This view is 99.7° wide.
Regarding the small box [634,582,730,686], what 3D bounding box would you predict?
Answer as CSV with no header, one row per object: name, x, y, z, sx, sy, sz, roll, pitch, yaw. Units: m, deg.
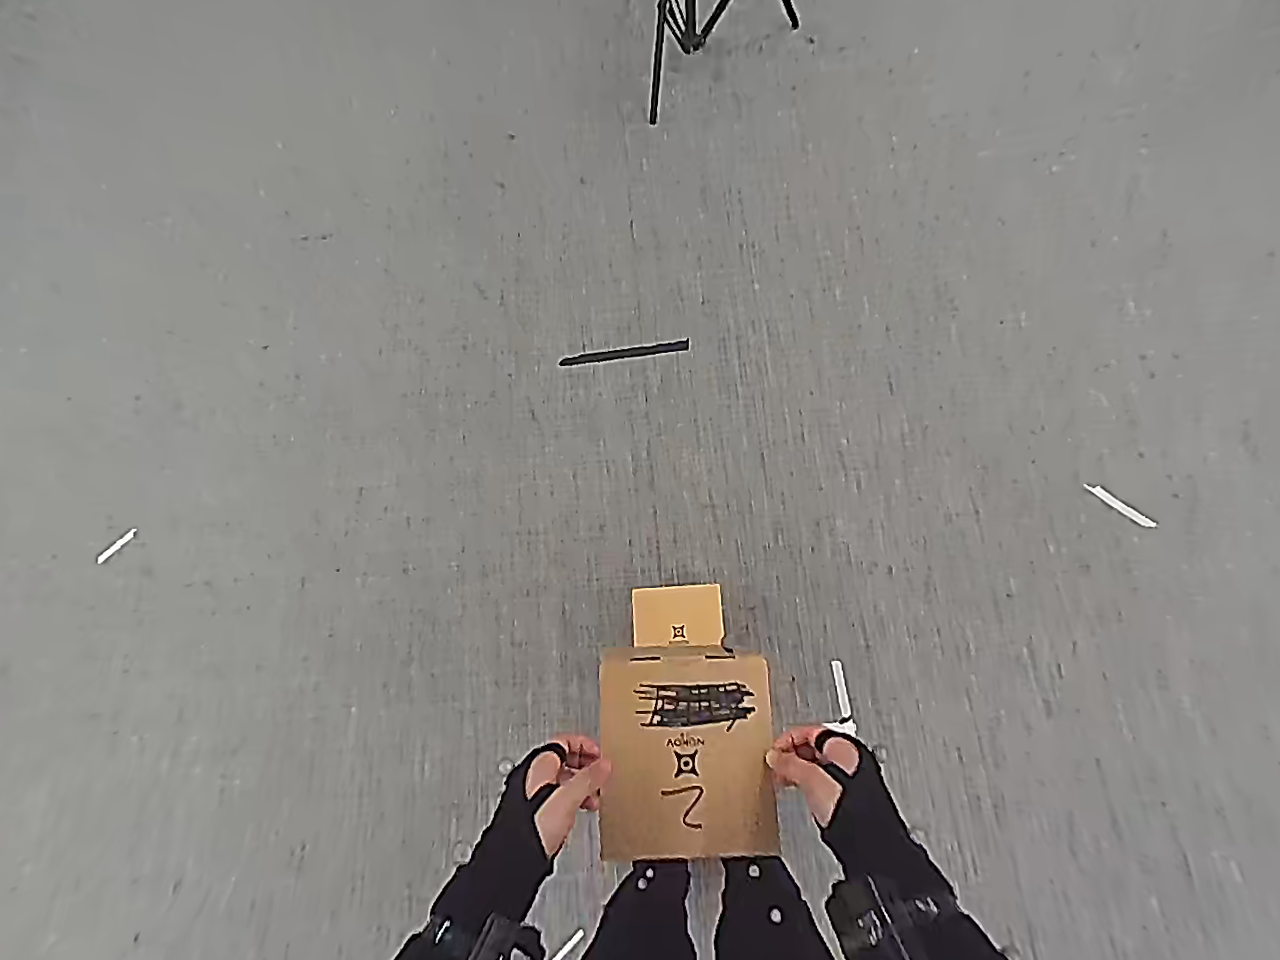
small box,0.080,0.298,1.047,0.168,0.176,0.179,-5,74,5
